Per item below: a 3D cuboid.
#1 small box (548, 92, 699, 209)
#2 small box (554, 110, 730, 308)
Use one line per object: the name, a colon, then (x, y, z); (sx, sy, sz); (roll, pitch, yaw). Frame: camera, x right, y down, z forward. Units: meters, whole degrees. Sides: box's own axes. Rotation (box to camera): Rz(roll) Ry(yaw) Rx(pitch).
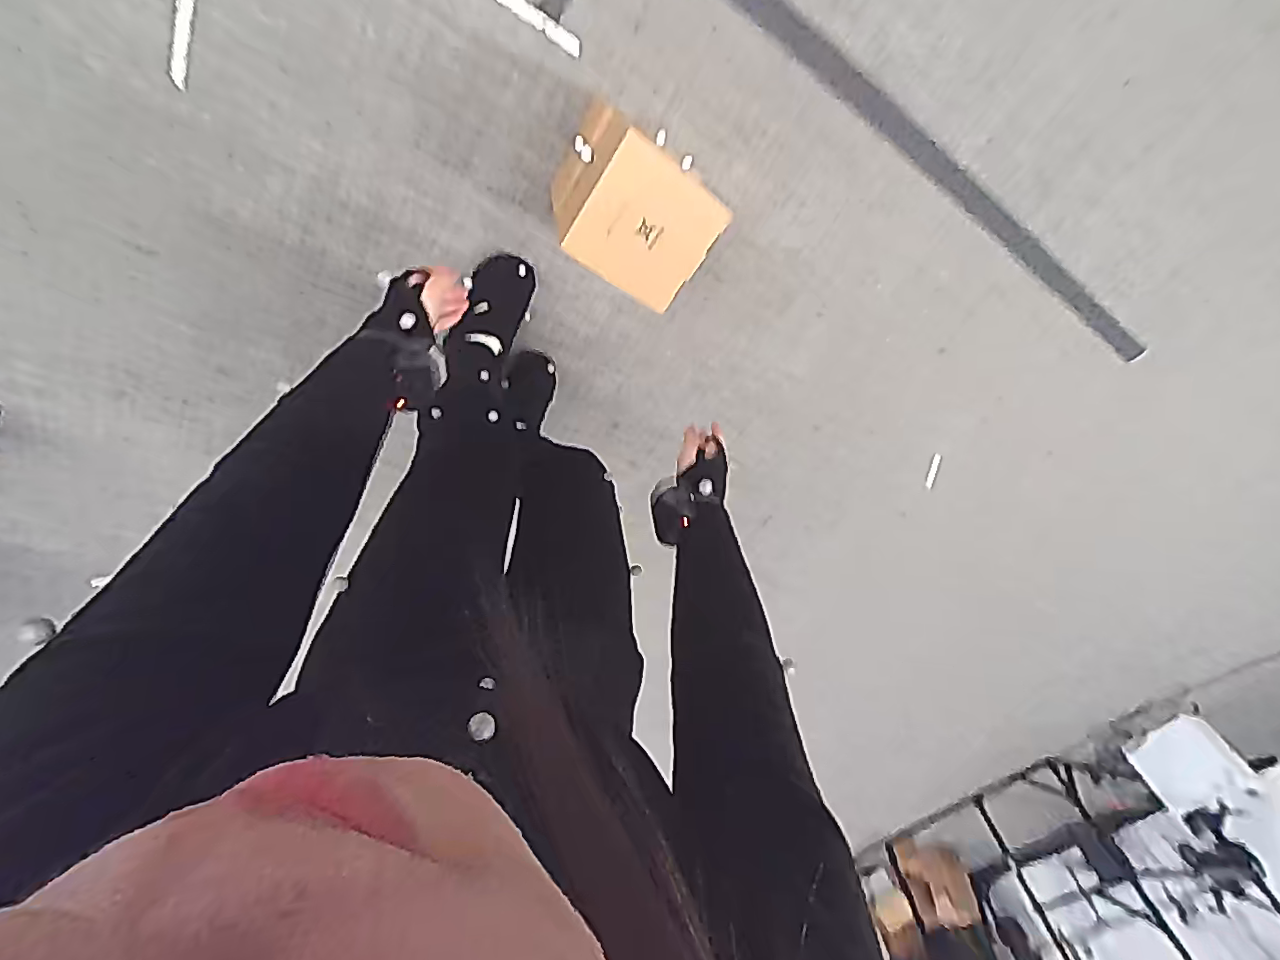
small box: (-0.035, -0.495, 0.883); (0.179, 0.176, 0.168); (22, 123, -29)
small box: (-0.006, -0.385, 0.765); (0.179, 0.176, 0.168); (26, 121, -29)
